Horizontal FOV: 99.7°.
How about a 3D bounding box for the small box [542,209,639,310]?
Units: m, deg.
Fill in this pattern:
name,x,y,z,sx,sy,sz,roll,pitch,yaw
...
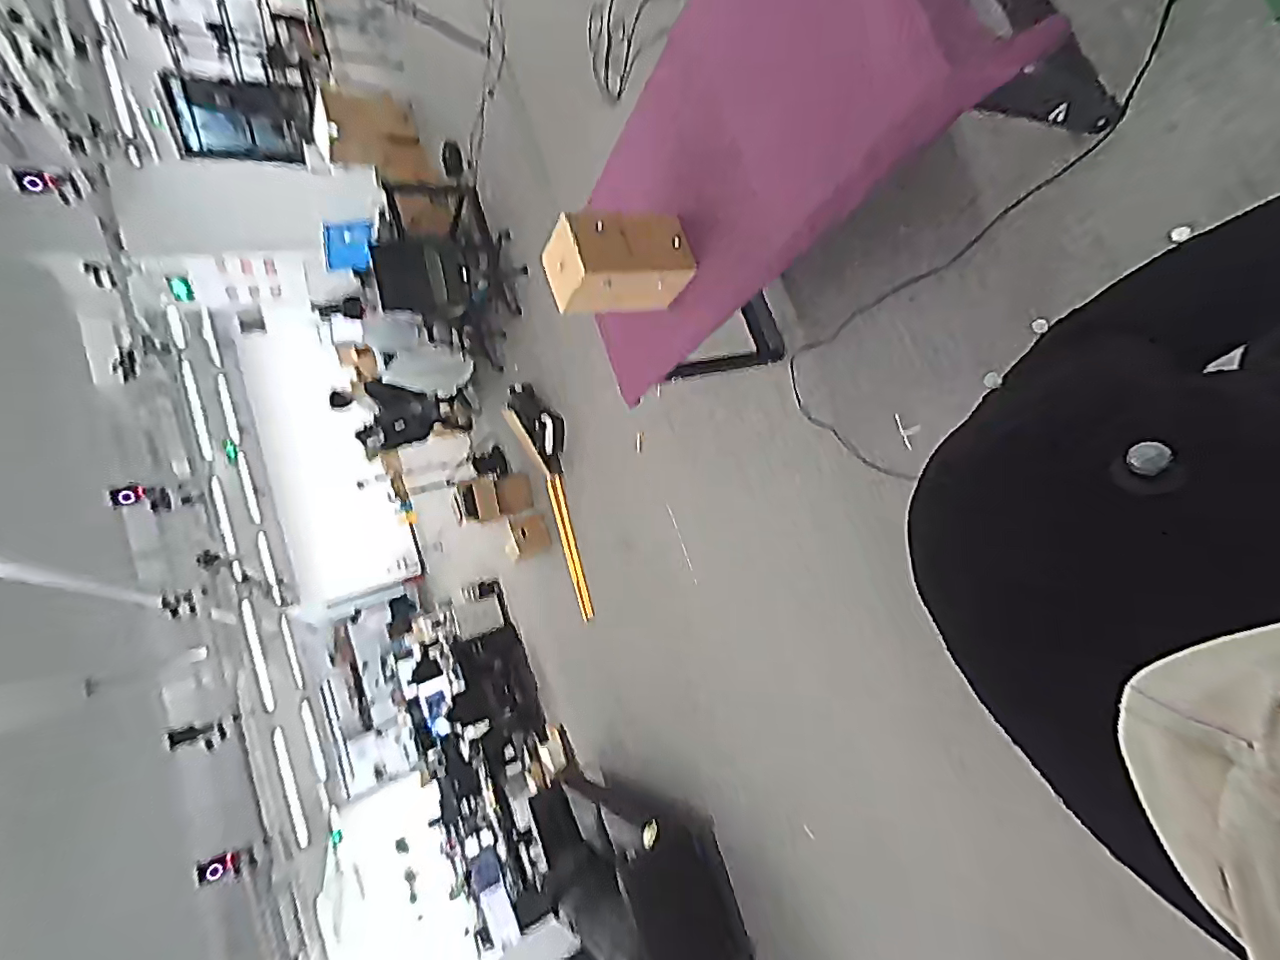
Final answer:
name,x,y,z,sx,sy,sz,roll,pitch,yaw
small box,-0.118,-0.544,1.341,0.179,0.176,0.168,-31,76,58
